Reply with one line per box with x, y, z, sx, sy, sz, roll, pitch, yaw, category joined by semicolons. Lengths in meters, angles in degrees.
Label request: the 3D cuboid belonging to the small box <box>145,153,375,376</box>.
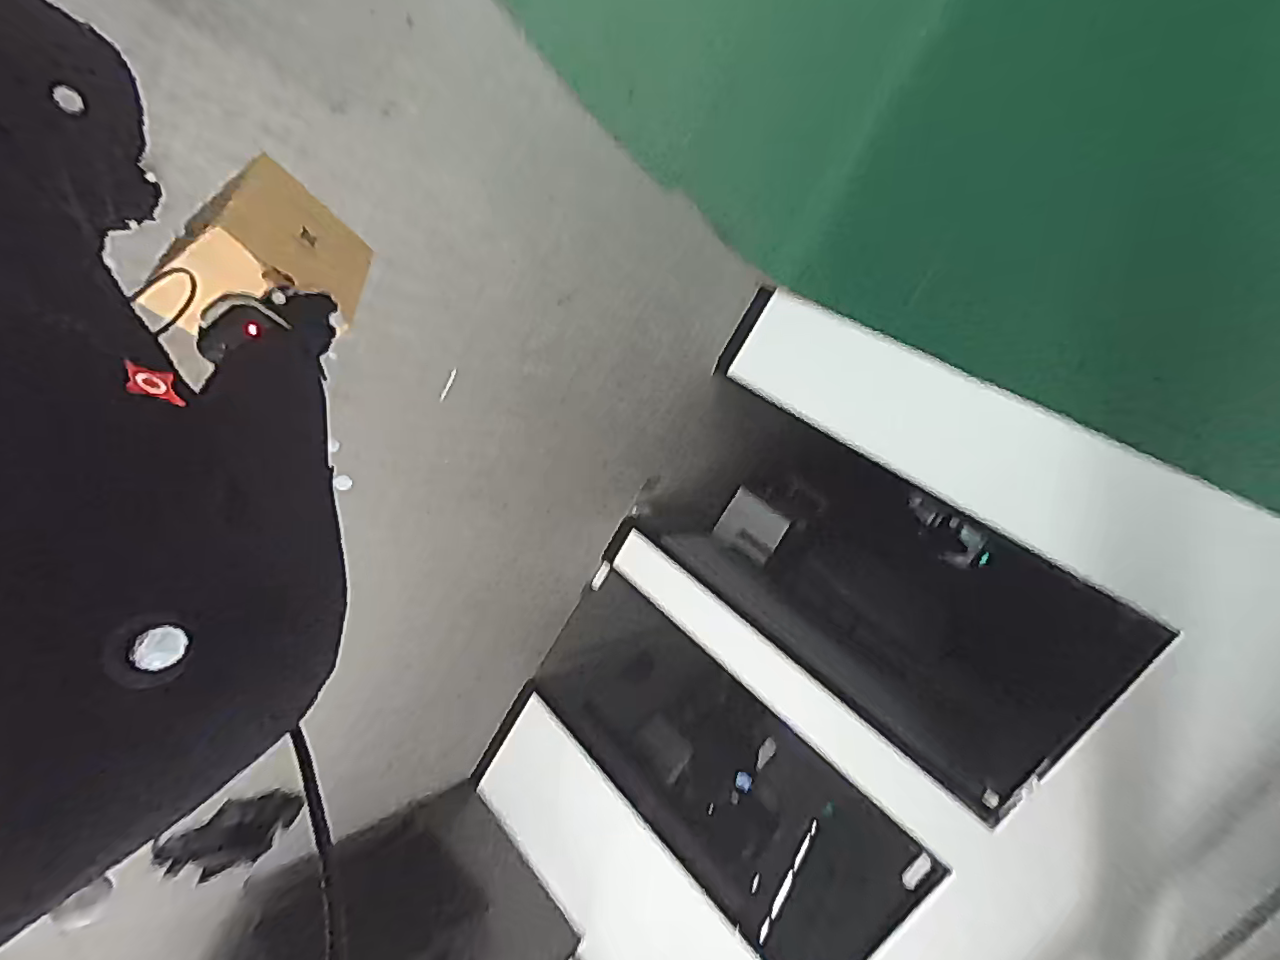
-0.486;-0.268;0.703;0.176;0.179;0.168;-23;142;21;small box
